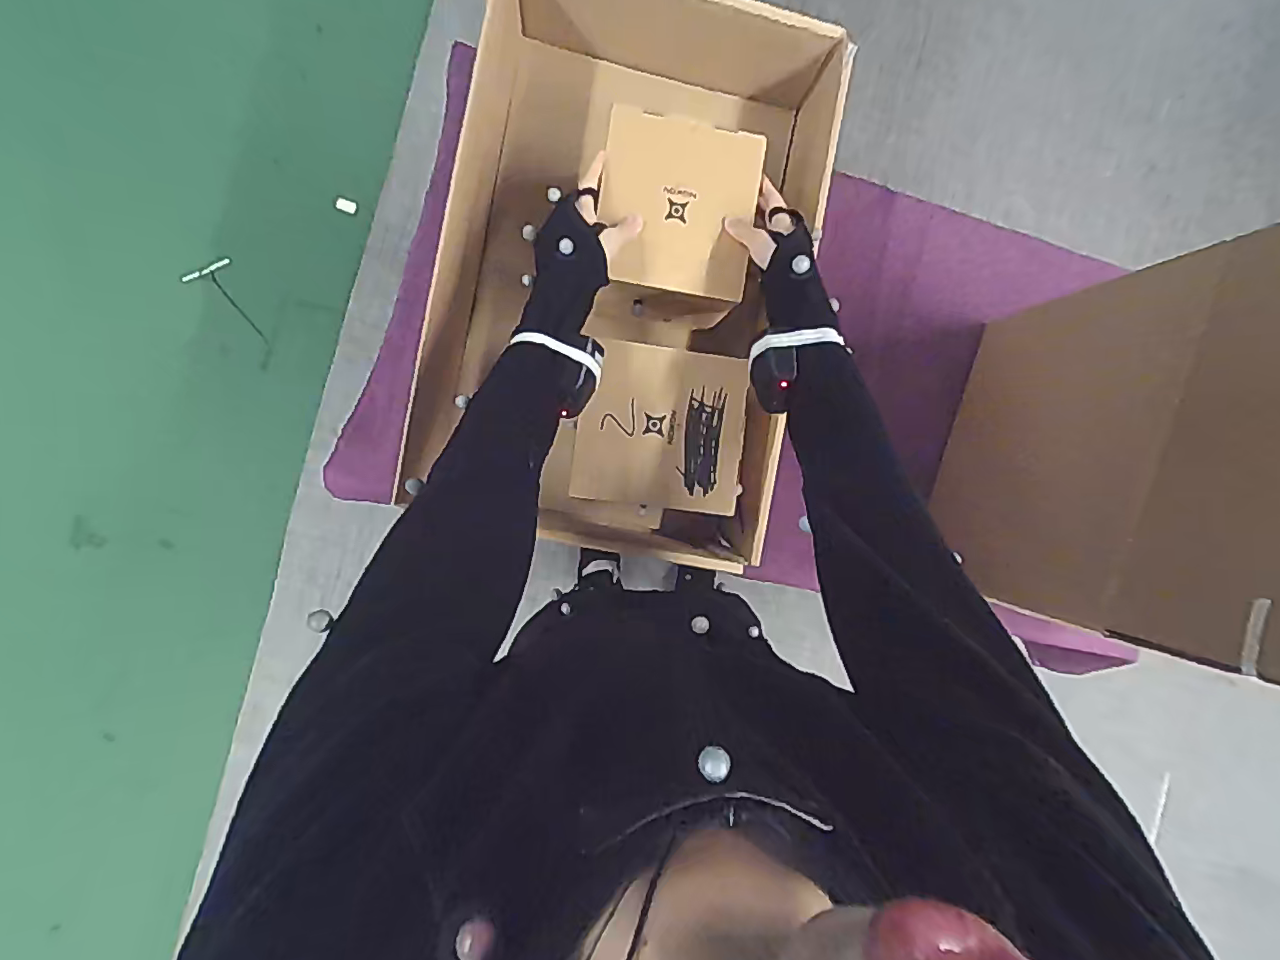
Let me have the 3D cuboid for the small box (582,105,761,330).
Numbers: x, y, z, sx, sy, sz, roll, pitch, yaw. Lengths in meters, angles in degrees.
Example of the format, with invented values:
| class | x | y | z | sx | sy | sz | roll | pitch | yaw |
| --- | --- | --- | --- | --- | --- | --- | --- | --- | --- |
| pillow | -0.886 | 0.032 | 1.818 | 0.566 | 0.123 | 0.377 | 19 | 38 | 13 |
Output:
| class | x | y | z | sx | sy | sz | roll | pitch | yaw |
| --- | --- | --- | --- | --- | --- | --- | --- | --- | --- |
| small box | 0.028 | -0.289 | 0.639 | 0.168 | 0.176 | 0.179 | 9 | 92 | -5 |
